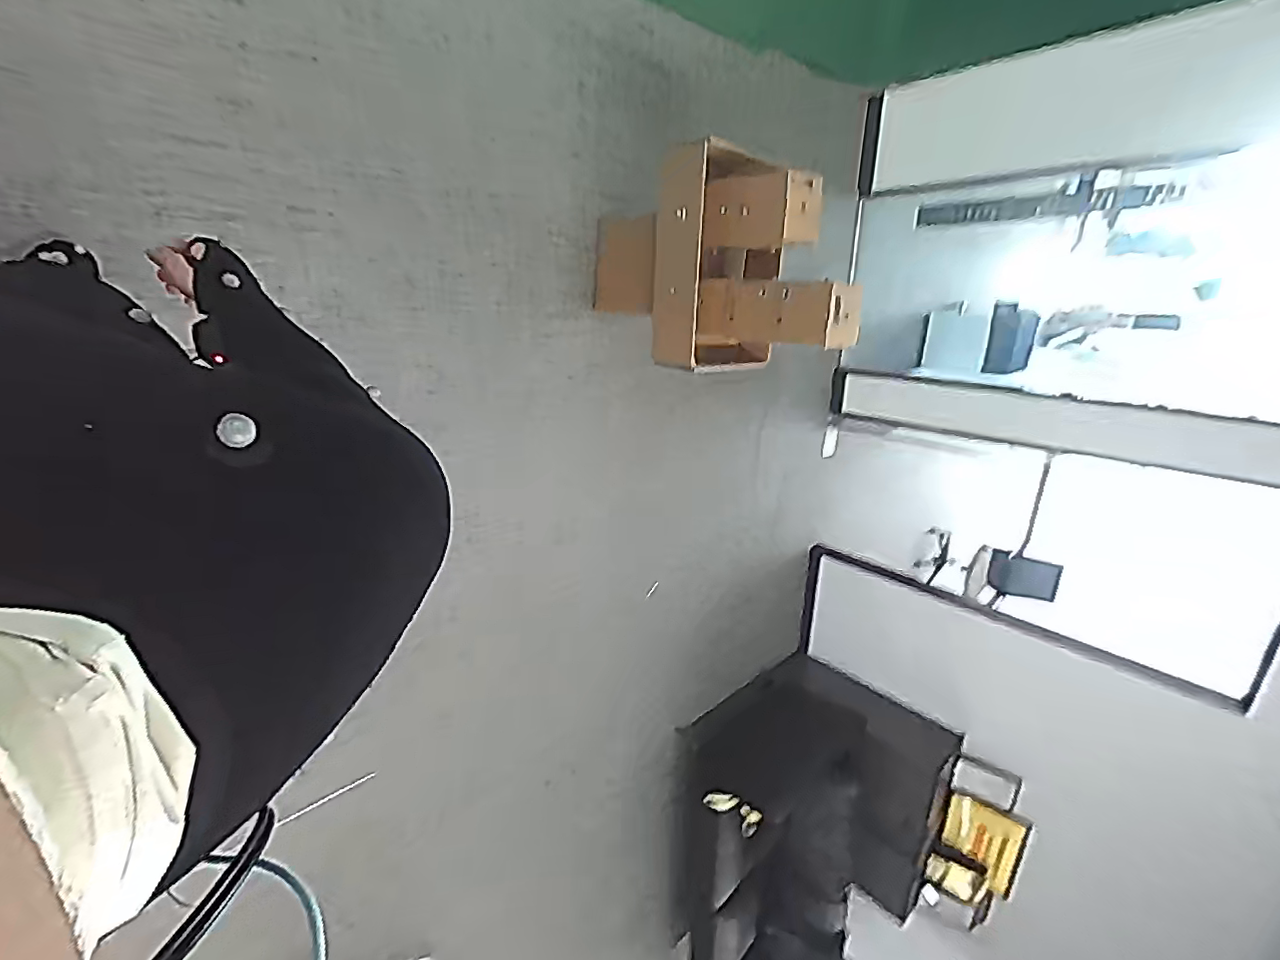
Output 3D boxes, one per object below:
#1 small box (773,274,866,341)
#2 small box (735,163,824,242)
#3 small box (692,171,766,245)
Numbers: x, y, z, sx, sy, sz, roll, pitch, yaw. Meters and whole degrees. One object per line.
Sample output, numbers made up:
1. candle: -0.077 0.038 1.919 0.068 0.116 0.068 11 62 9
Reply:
1. small box: 0.486 -0.469 1.478 0.179 0.176 0.168 -15 116 -41
2. small box: 0.382 -0.761 1.502 0.168 0.176 0.179 -17 117 -39
3. small box: 0.272 -0.806 1.616 0.168 0.176 0.179 -15 117 -40
